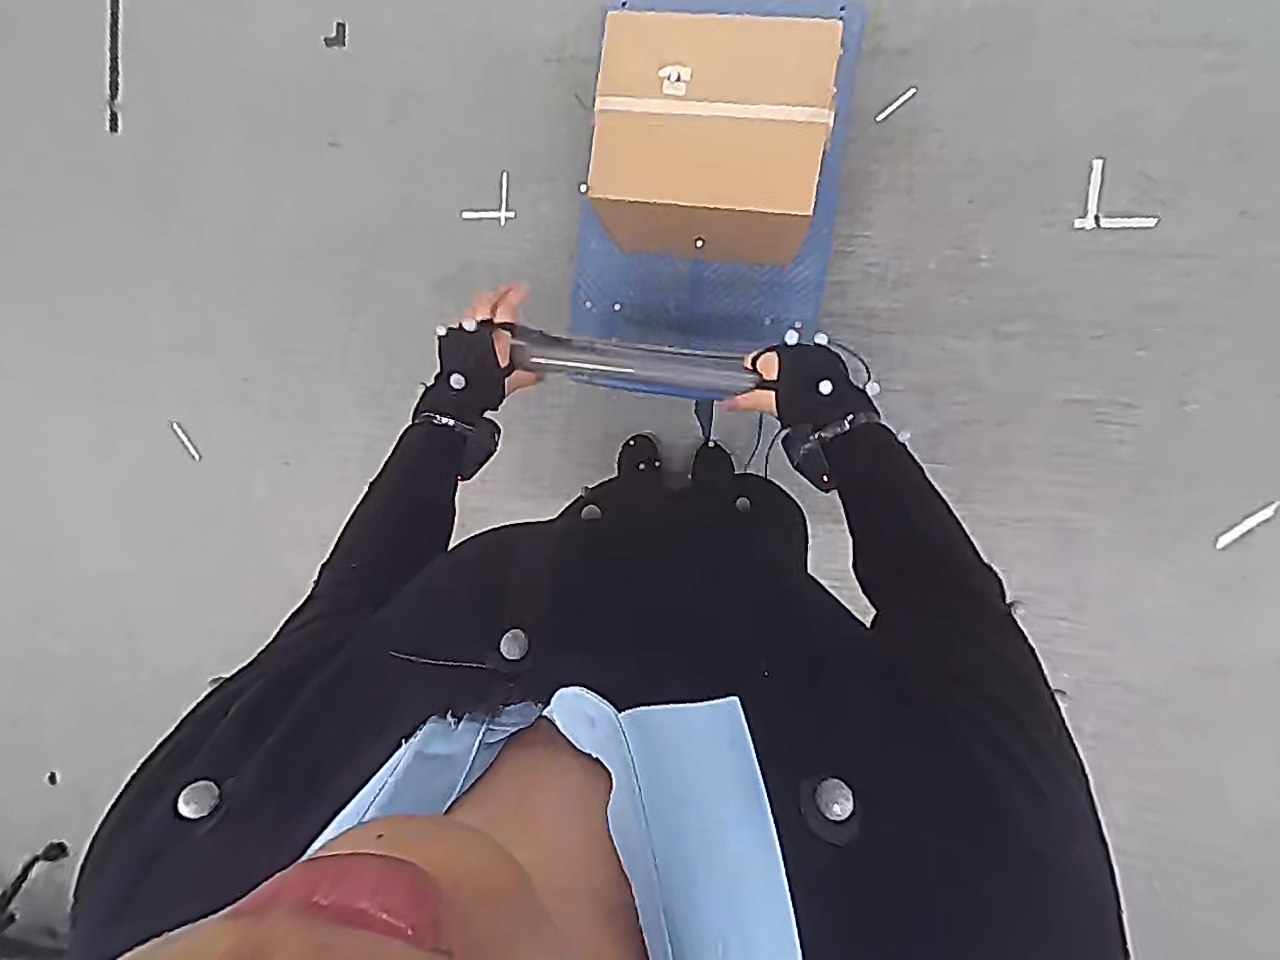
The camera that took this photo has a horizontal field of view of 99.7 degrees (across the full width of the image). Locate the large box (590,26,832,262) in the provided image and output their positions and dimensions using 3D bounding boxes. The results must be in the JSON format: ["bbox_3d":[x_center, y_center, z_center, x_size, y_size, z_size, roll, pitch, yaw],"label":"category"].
[{"bbox_3d":[0.142,-0.656,1.107,0.408,0.320,0.320,8,96,9],"label":"large box"}]
